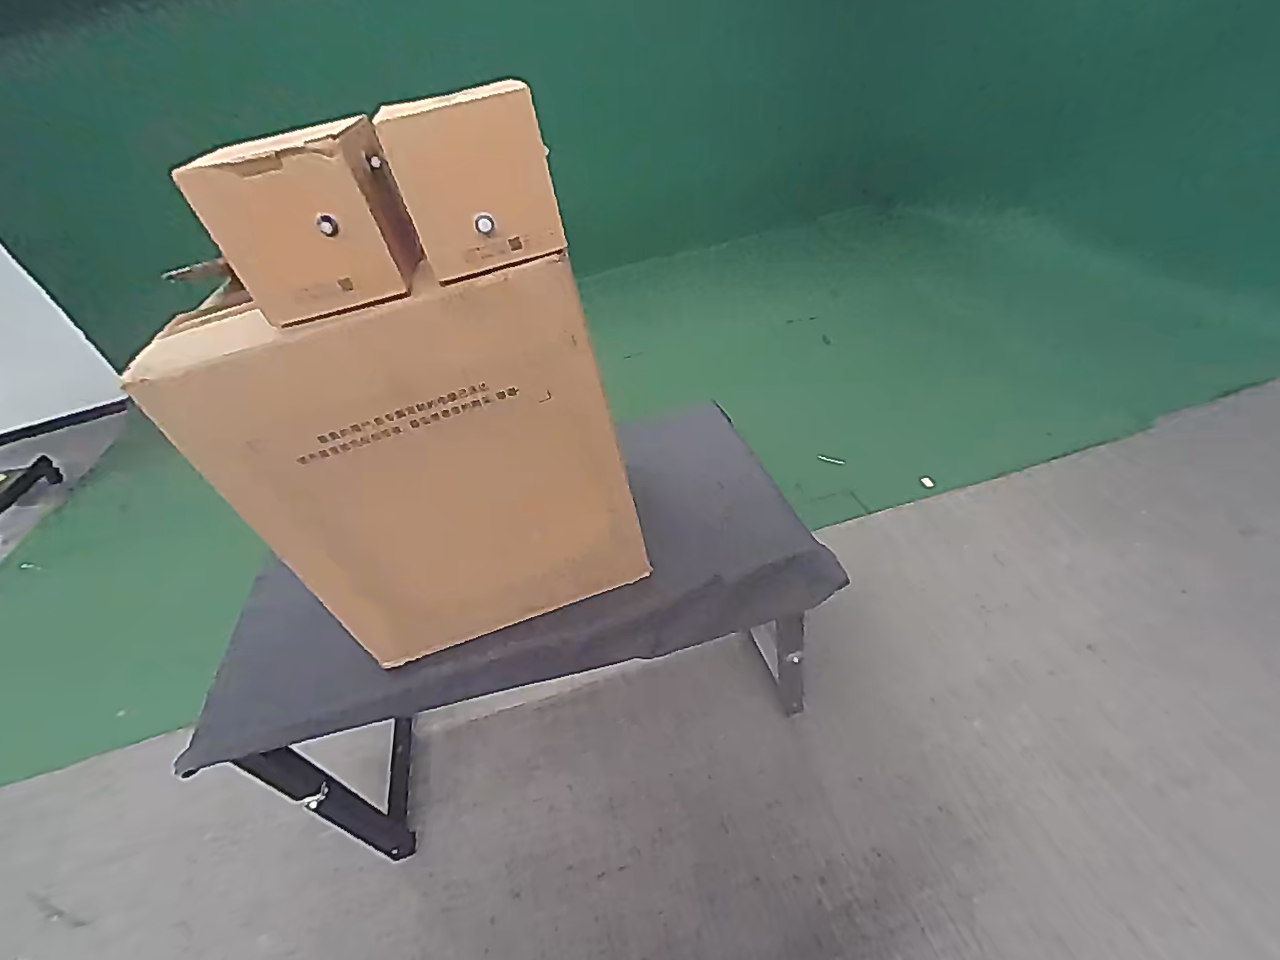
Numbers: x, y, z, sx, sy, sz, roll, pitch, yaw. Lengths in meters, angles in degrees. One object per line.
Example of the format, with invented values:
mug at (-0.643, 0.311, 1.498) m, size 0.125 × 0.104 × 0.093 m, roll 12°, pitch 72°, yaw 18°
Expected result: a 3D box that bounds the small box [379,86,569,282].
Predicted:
small box at (-0.198, -0.367, 0.671) m, size 0.168 × 0.176 × 0.179 m, roll -18°, pitch 42°, yaw -6°
